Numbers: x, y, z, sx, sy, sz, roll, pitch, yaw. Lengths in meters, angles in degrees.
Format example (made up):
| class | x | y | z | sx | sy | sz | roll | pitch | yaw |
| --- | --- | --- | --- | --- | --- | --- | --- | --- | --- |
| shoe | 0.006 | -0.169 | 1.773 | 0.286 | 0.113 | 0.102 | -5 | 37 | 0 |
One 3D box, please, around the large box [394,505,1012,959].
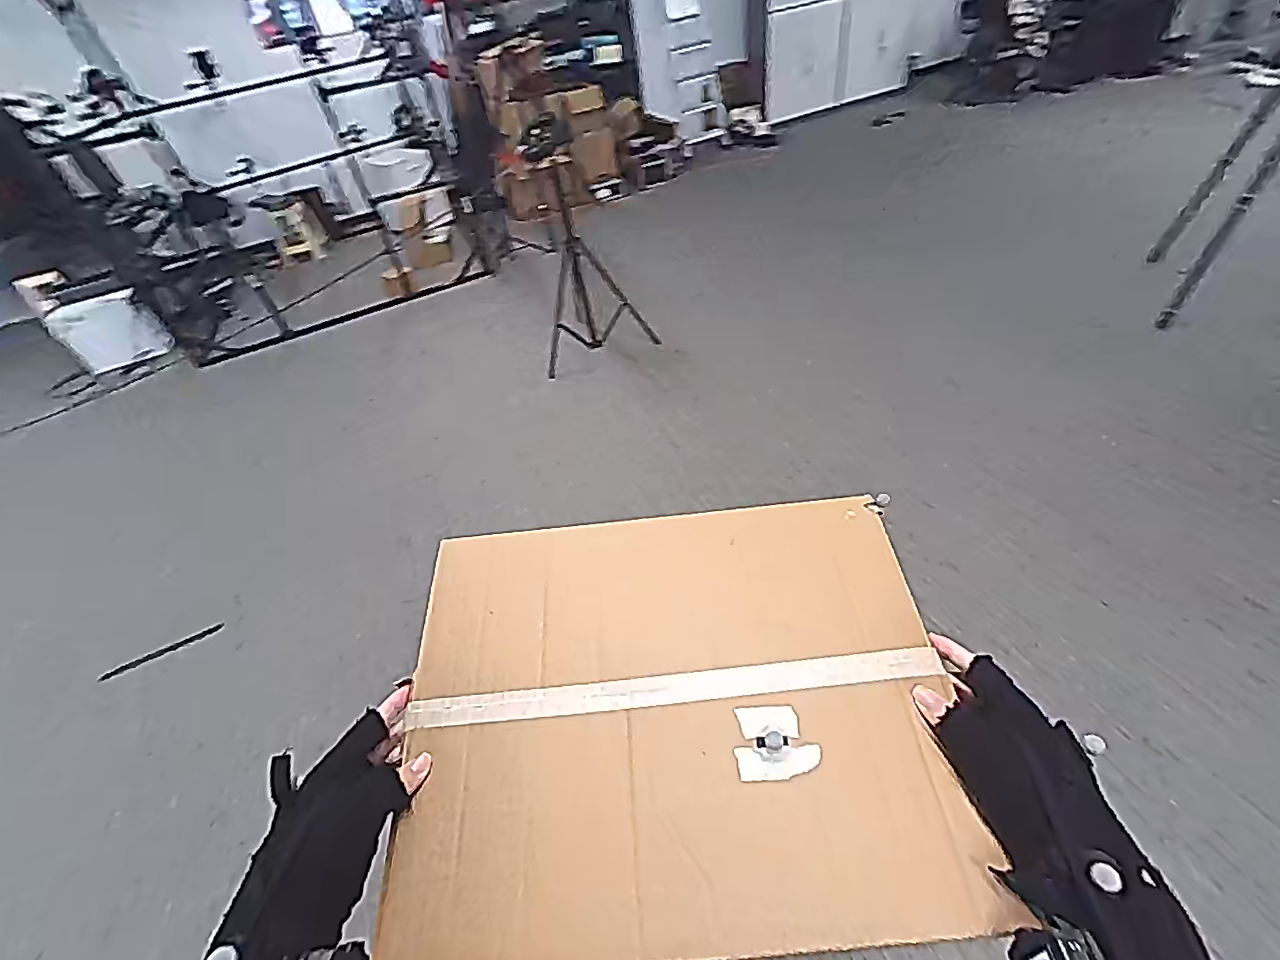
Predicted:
| class | x | y | z | sx | sy | sz | roll | pitch | yaw |
| --- | --- | --- | --- | --- | --- | --- | --- | --- | --- |
| large box | 0.036 | 0.258 | 0.546 | 0.408 | 0.320 | 0.320 | -7 | 53 | 1 |
